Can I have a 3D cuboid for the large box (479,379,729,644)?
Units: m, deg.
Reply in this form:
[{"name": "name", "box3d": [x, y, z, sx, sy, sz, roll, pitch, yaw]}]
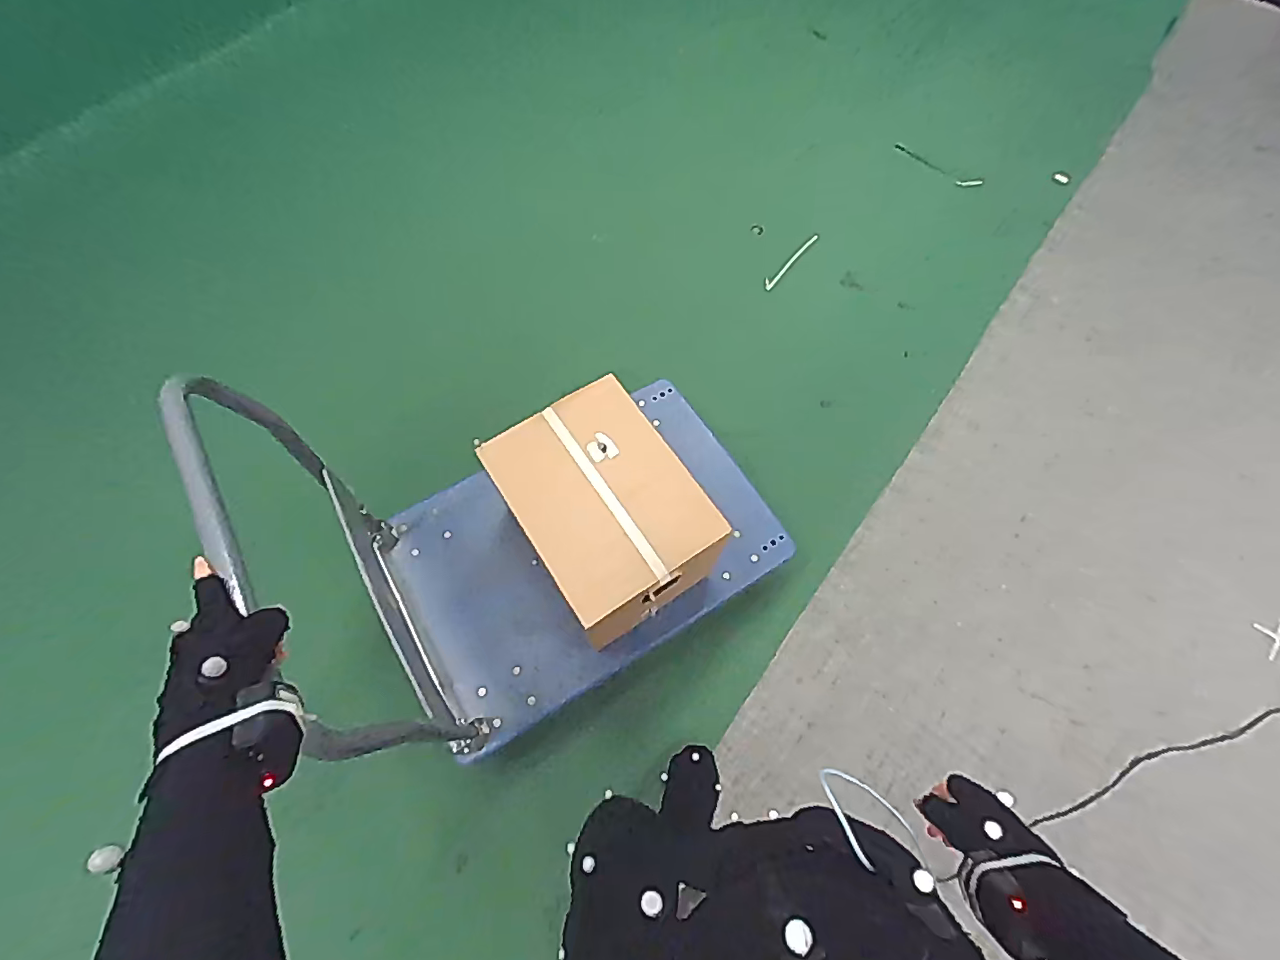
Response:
[{"name": "large box", "box3d": [-0.072, 0.077, 1.143, 0.320, 0.320, 0.408, -32, 70, -15]}]
